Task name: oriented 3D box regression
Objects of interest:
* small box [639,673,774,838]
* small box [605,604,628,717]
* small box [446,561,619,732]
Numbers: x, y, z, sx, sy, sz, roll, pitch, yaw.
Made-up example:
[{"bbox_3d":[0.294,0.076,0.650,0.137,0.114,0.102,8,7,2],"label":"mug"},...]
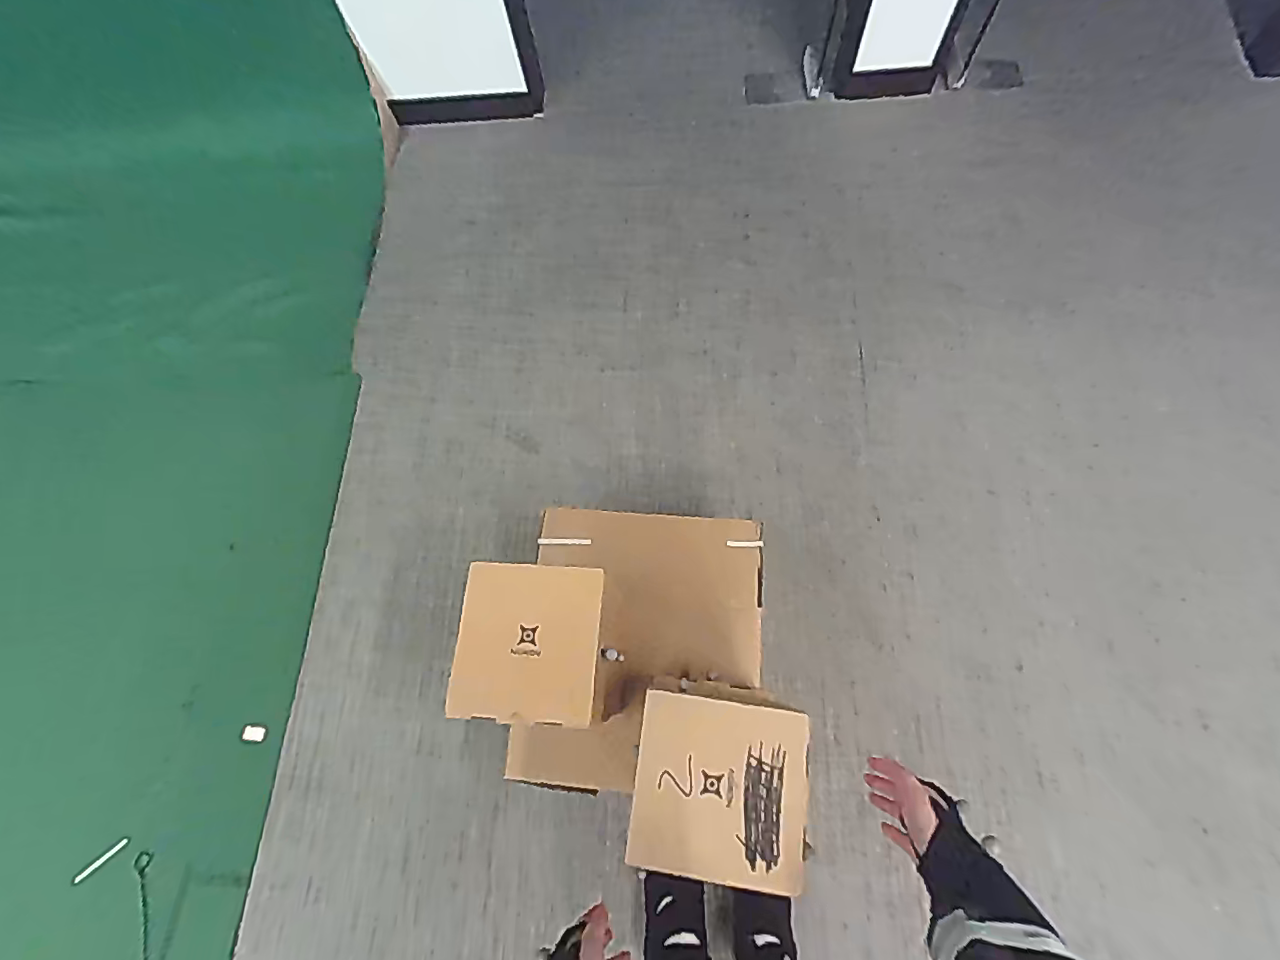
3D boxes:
[{"bbox_3d":[0.094,0.384,0.780,0.168,0.176,0.179,5,69,6],"label":"small box"},{"bbox_3d":[-0.113,0.270,0.843,0.168,0.176,0.179,3,69,6],"label":"small box"},{"bbox_3d":[-0.121,0.210,0.690,0.168,0.176,0.179,3,71,6],"label":"small box"}]
